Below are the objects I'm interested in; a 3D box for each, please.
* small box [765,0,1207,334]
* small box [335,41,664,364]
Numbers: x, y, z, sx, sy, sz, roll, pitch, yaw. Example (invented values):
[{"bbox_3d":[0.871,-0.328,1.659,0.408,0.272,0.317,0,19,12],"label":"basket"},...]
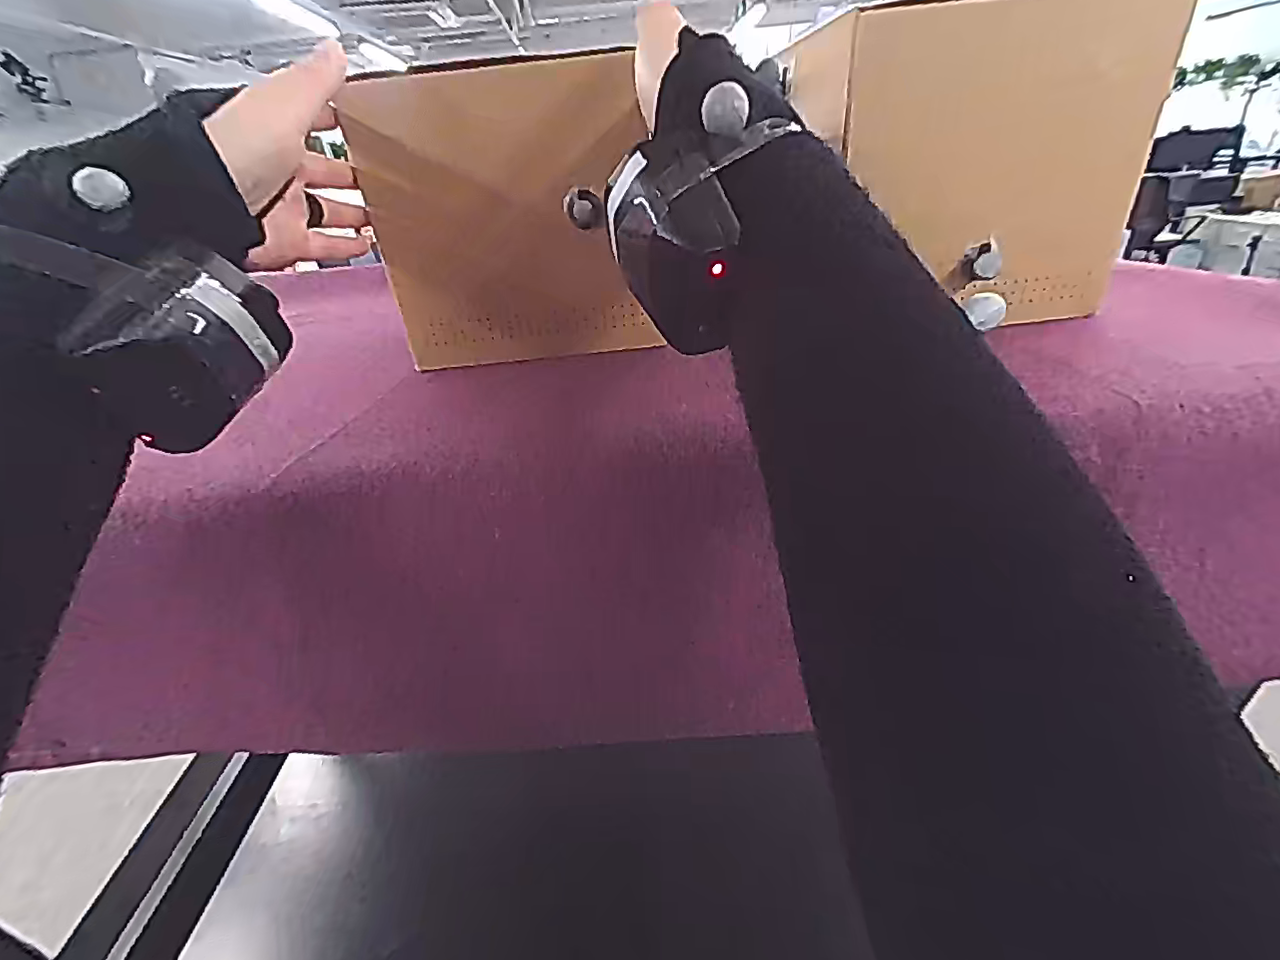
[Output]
[{"bbox_3d":[0.192,-0.207,0.365,0.179,0.176,0.168,-6,29,-1],"label":"small box"},{"bbox_3d":[-0.075,-0.195,0.398,0.179,0.176,0.168,-6,29,1],"label":"small box"}]
